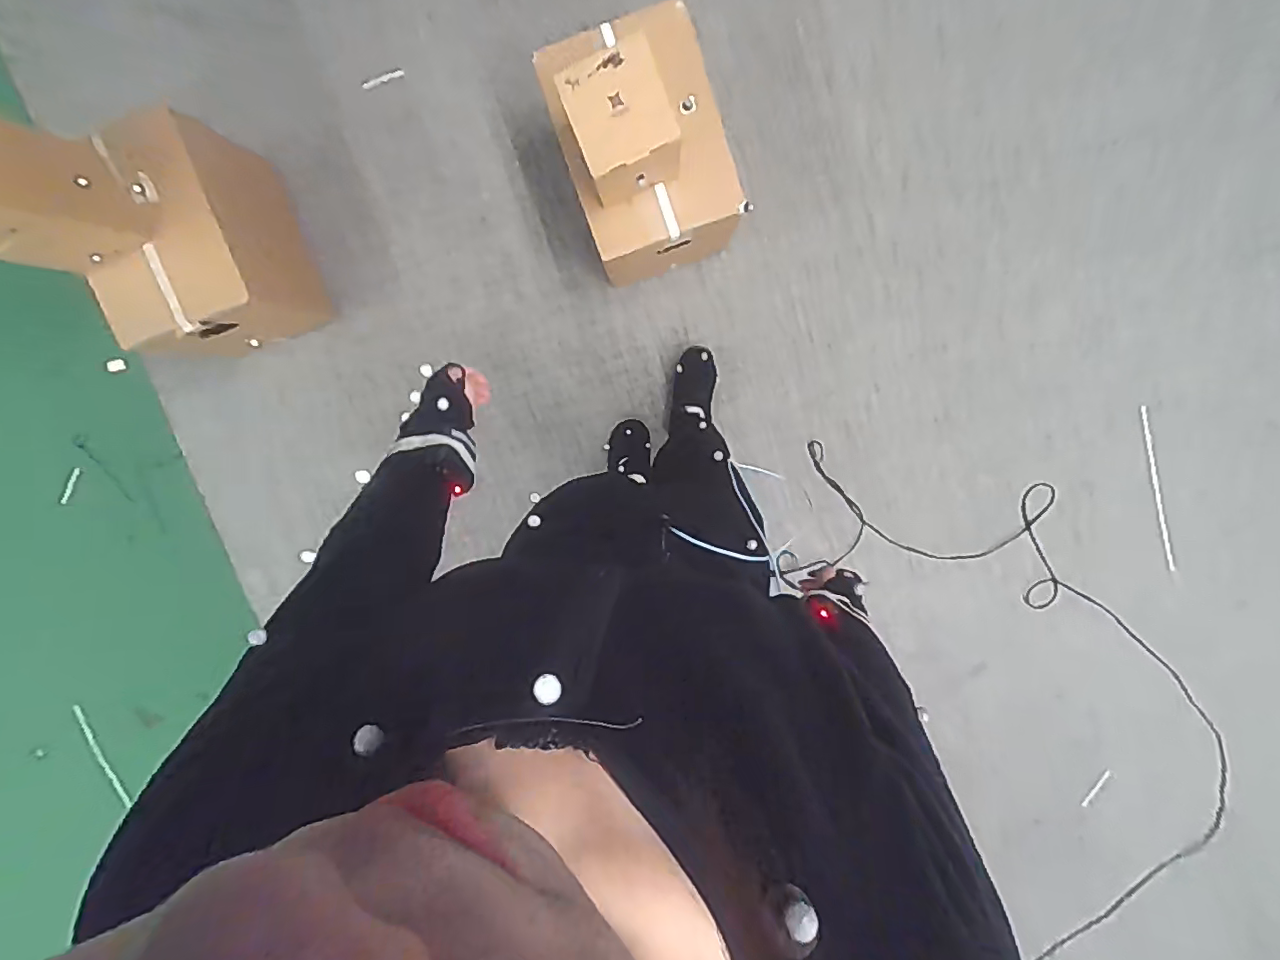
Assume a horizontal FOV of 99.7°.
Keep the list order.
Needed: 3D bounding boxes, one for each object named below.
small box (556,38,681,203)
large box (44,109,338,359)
[{"bbox_3d":[-0.030,-0.630,0.981,0.168,0.176,0.179,-22,99,7],"label":"small box"},{"bbox_3d":[-1.004,-0.532,1.264,0.320,0.320,0.408,-18,98,5],"label":"large box"}]
